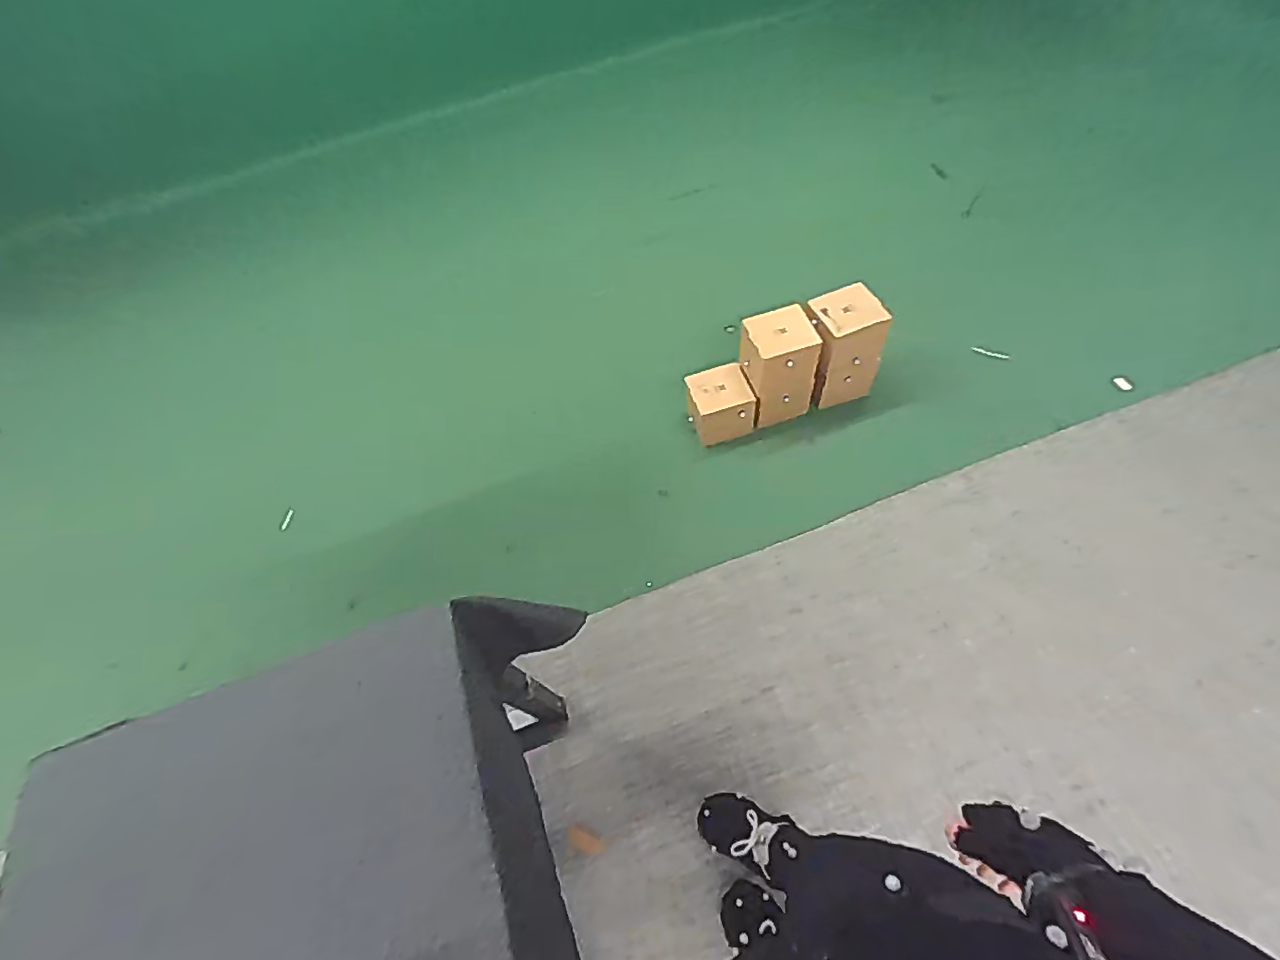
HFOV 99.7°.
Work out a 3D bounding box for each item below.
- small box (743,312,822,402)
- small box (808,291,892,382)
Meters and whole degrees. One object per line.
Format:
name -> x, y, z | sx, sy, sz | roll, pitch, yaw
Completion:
small box -> 0.412, -0.360, 1.598 | 0.179, 0.176, 0.168 | -17, 59, -1
small box -> 0.604, -0.422, 1.606 | 0.179, 0.176, 0.168 | -20, 58, -5
